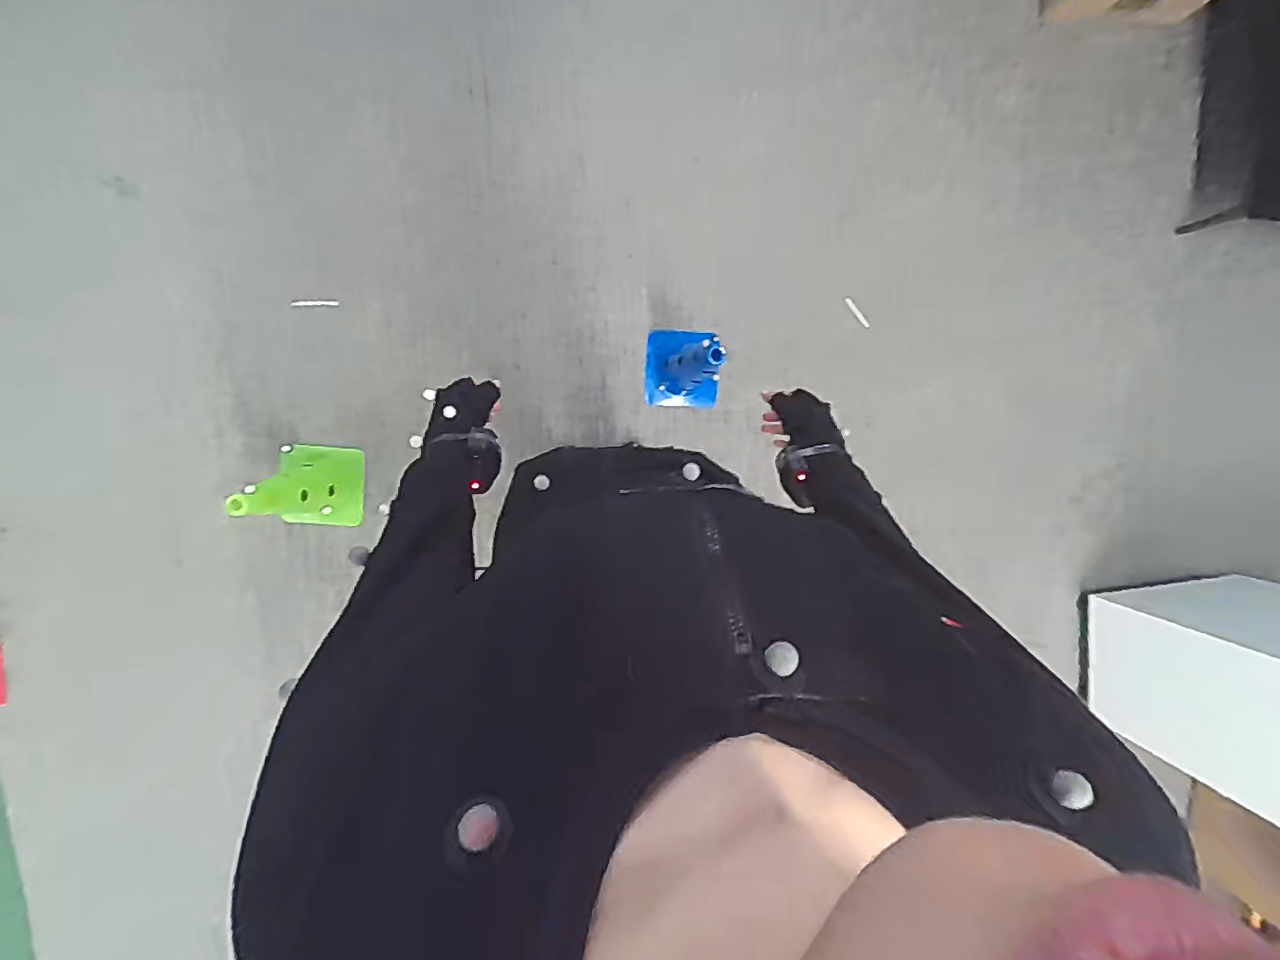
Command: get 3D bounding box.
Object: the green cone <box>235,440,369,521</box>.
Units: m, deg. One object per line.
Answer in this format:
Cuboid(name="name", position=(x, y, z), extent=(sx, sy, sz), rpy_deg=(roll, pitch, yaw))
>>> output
Cuboid(name="green cone", position=(-0.780, 0.019, 1.210), extent=(0.202, 0.368, 0.200), rpy_deg=(3, 95, -7))
